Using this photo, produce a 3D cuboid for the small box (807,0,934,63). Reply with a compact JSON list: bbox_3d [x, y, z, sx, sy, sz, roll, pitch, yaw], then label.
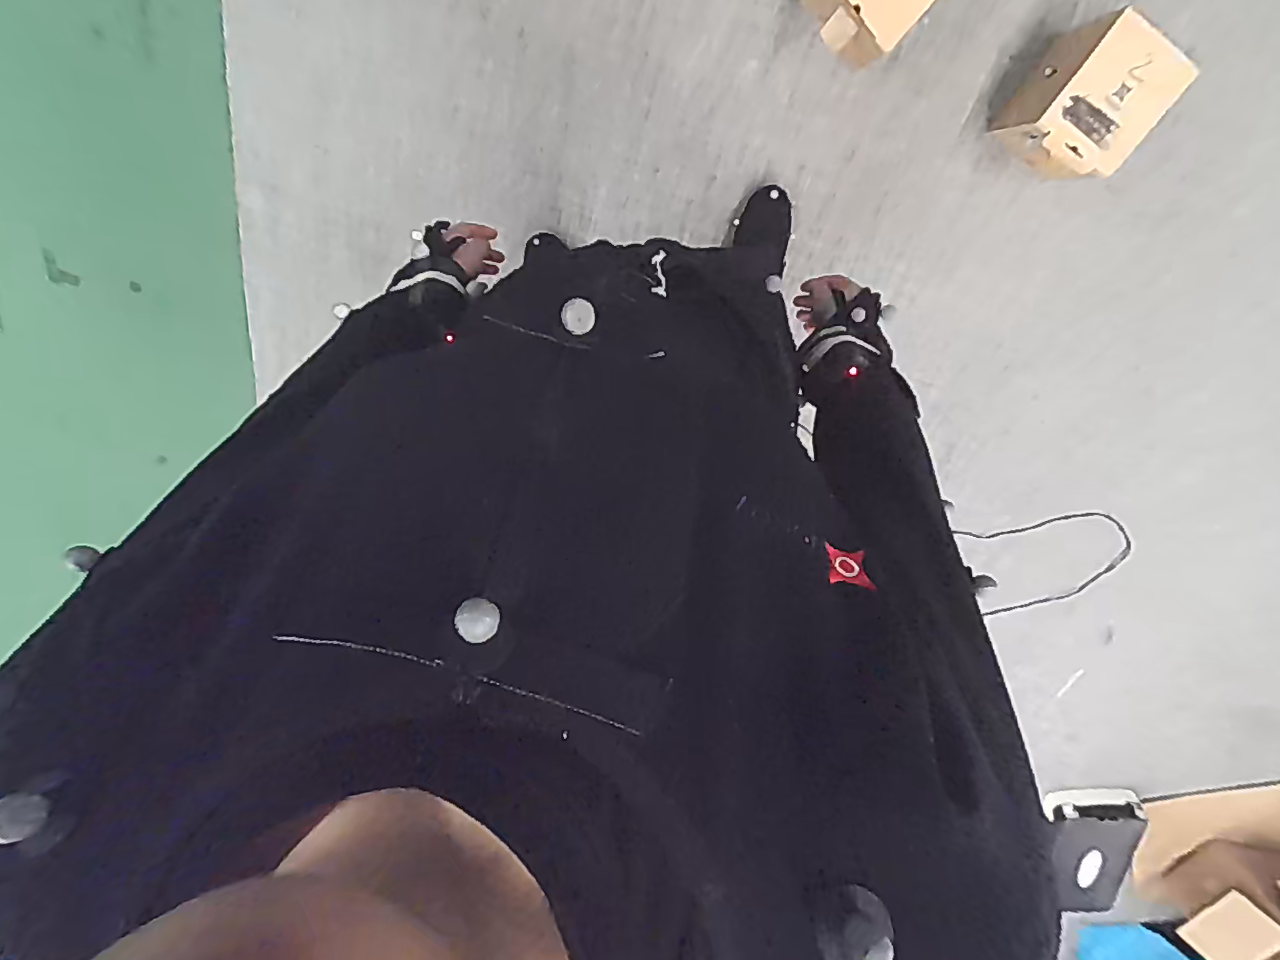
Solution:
[{"bbox_3d":[0.394,-0.820,0.864,0.168,0.176,0.179,39,116,-17],"label":"small box"}]
